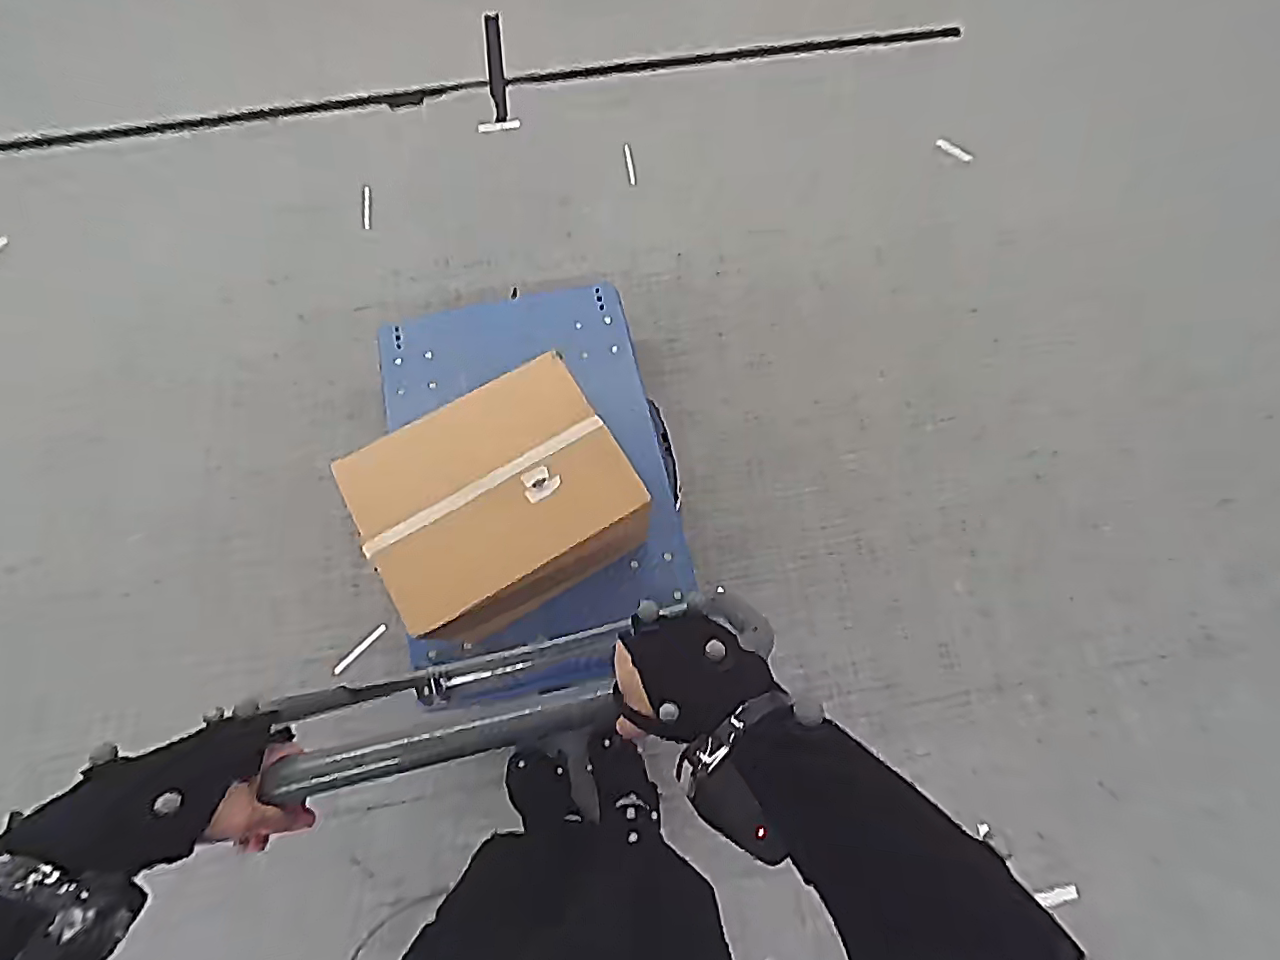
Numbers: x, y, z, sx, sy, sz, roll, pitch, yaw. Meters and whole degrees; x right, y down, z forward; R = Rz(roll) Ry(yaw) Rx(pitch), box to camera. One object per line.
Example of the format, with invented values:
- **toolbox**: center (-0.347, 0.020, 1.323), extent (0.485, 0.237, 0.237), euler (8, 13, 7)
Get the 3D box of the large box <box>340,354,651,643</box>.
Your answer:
- **large box**: center (-0.232, 0.052, 0.985), extent (0.408, 0.320, 0.320), euler (-30, 76, -11)
